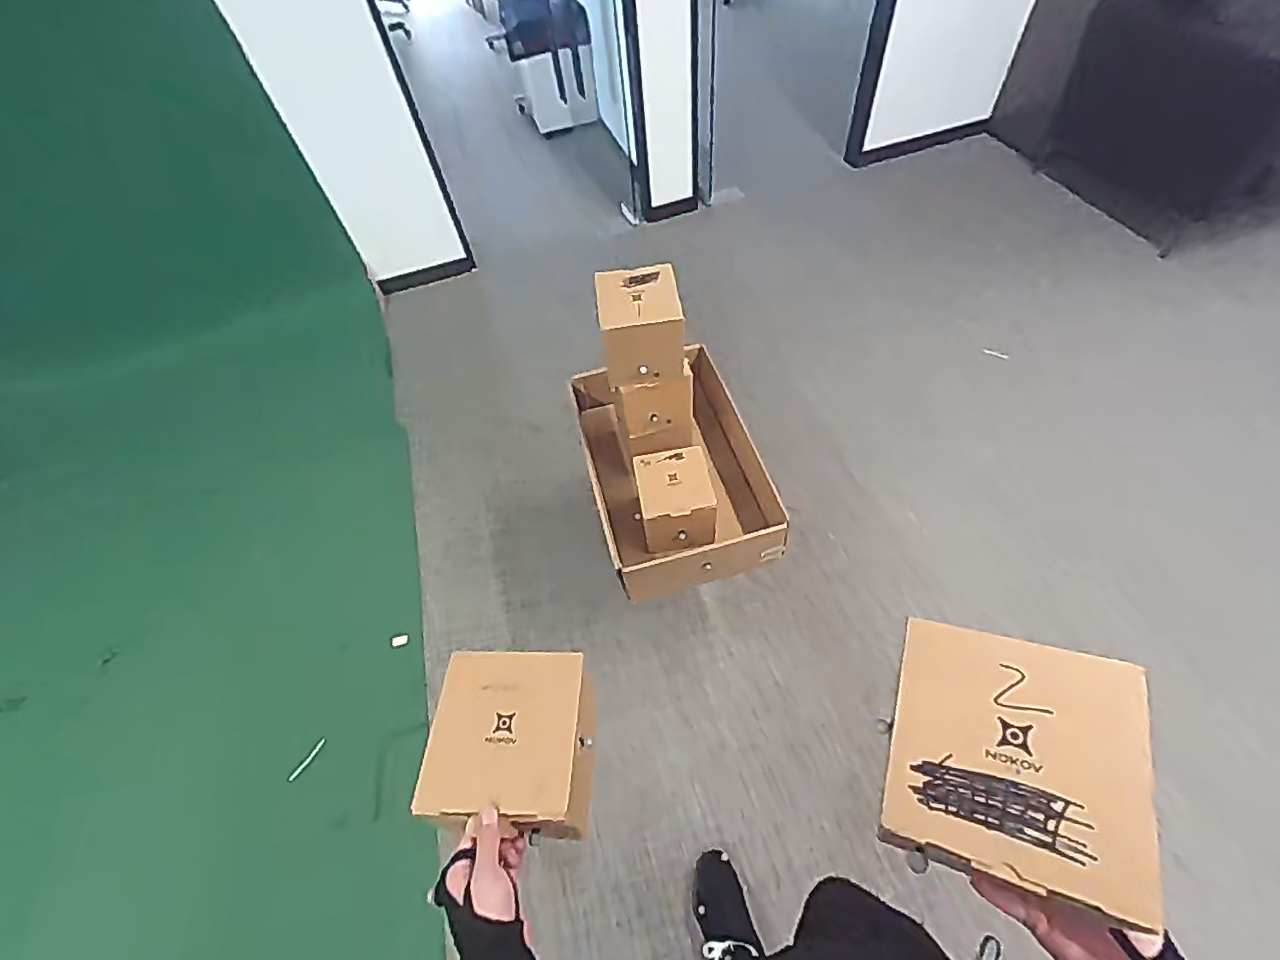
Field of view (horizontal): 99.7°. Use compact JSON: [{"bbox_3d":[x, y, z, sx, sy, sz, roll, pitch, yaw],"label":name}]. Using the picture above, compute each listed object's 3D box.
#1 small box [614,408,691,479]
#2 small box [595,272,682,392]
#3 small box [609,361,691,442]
[{"bbox_3d":[0.031,-0.132,1.429,0.168,0.176,0.179,-16,56,-4],"label":"small box"},{"bbox_3d":[-0.002,-0.314,1.161,0.168,0.176,0.179,-8,57,0],"label":"small box"},{"bbox_3d":[0.017,-0.220,1.294,0.168,0.176,0.179,-16,56,-5],"label":"small box"}]
